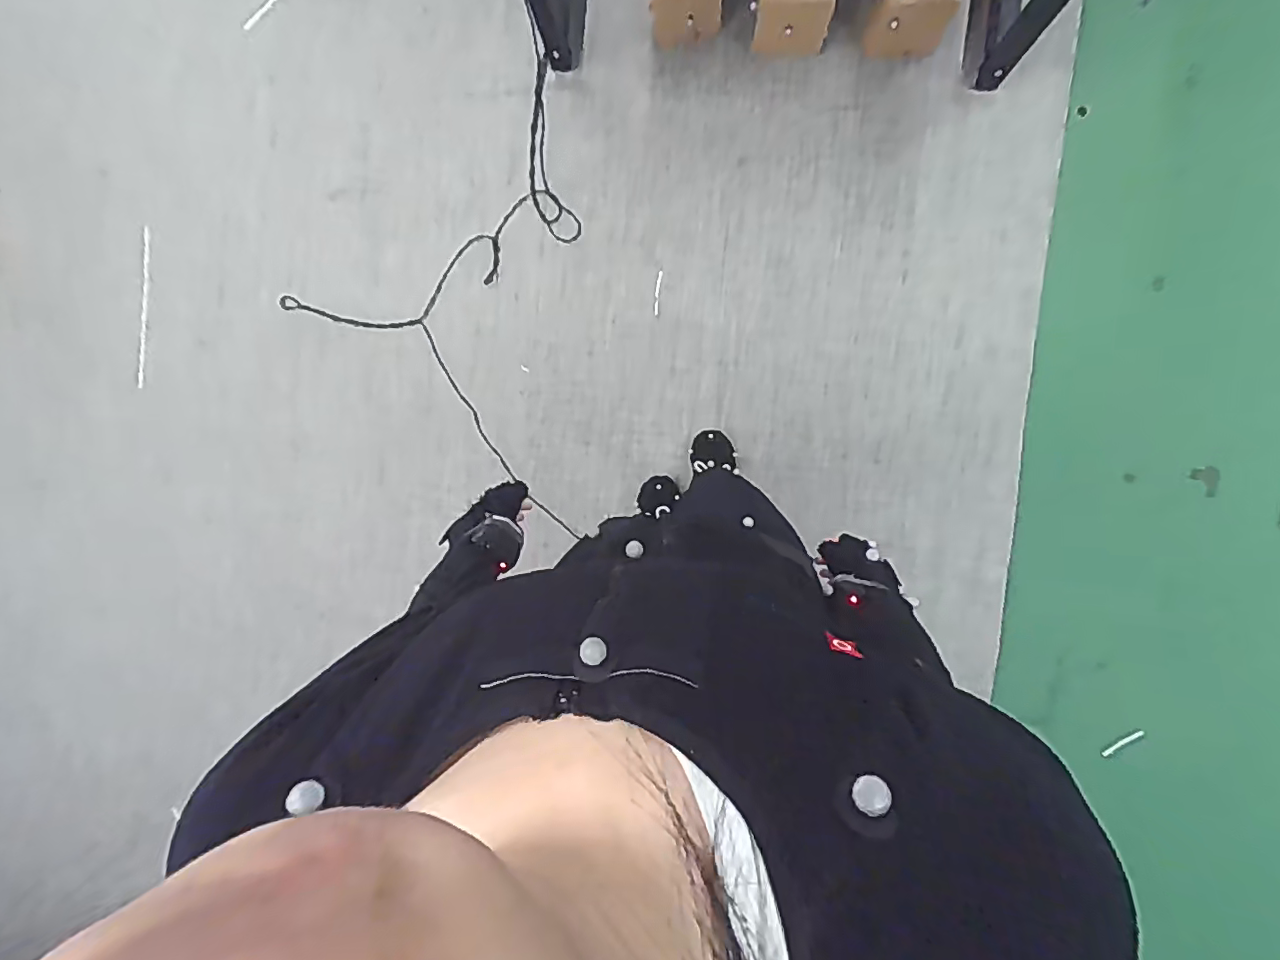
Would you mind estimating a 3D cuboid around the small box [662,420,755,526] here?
[{"bbox_3d":[0.178,-0.015,1.406,0.179,0.176,0.168,-41,58,-18],"label":"small box"}]

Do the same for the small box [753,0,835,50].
[{"bbox_3d":[0.381,-1.203,1.332,0.179,0.176,0.168,4,93,6],"label":"small box"}]
